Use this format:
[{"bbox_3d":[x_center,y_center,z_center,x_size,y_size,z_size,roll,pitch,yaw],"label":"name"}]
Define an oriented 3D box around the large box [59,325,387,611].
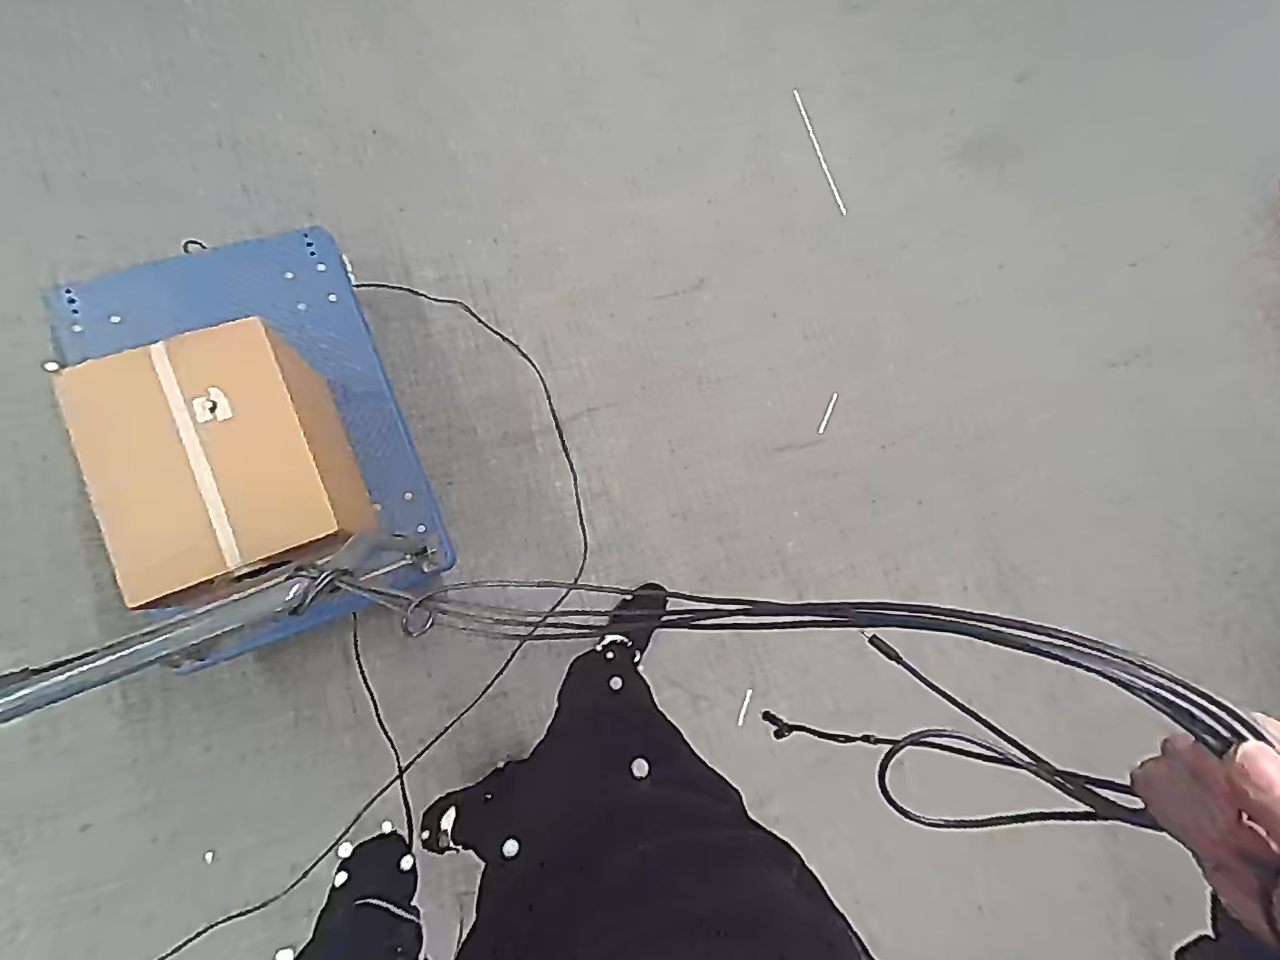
[{"bbox_3d":[-0.736,-0.004,1.020,0.320,0.320,0.408,-22,83,-15],"label":"large box"}]
